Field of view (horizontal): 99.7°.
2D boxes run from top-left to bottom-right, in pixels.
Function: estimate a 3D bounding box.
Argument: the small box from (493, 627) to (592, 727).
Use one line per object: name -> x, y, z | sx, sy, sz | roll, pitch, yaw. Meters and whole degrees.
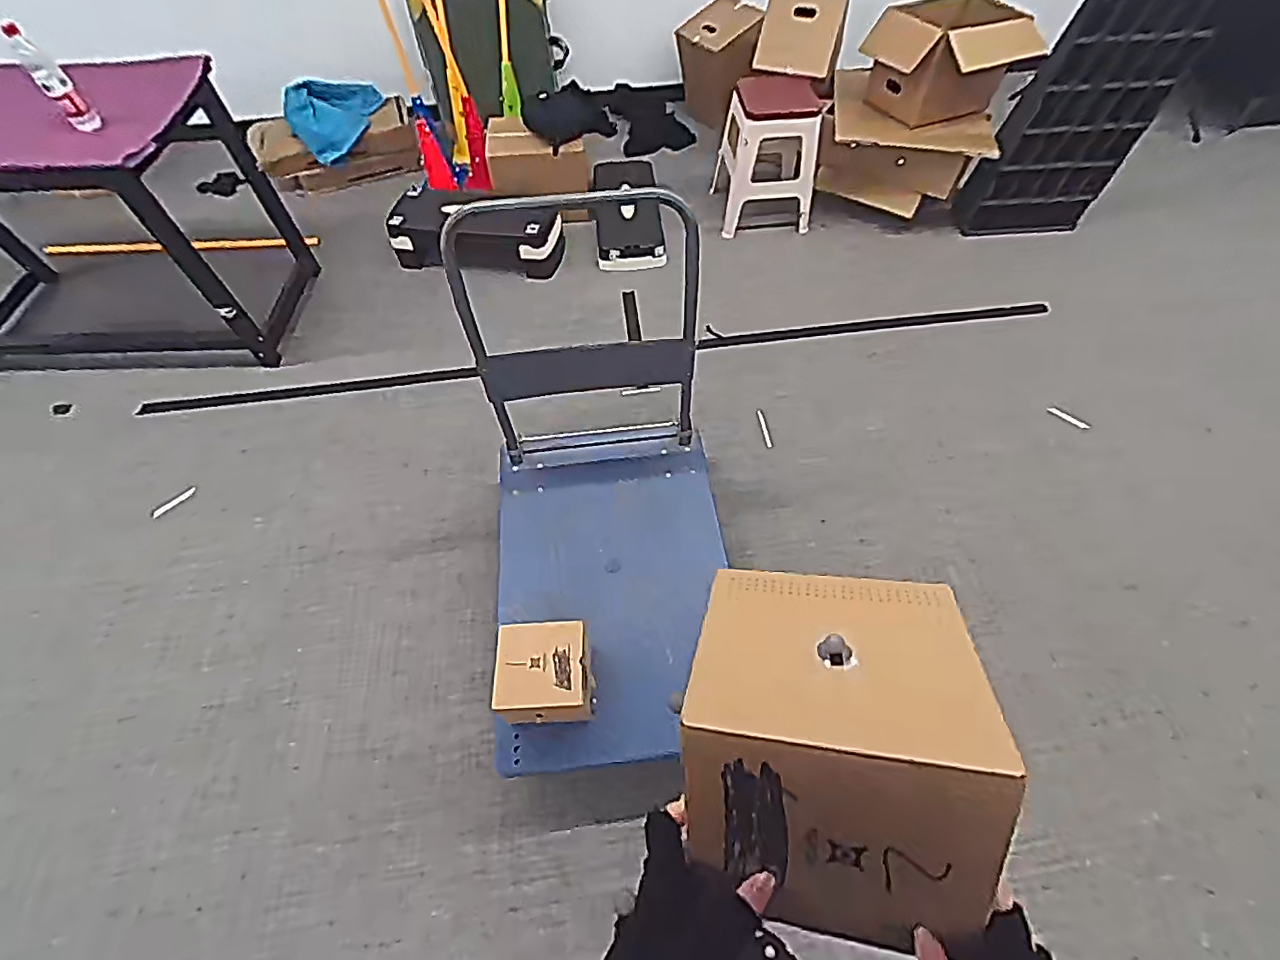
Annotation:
small box -> -0.193, 0.414, 1.130 | 0.179, 0.176, 0.168 | -3, 57, 0
